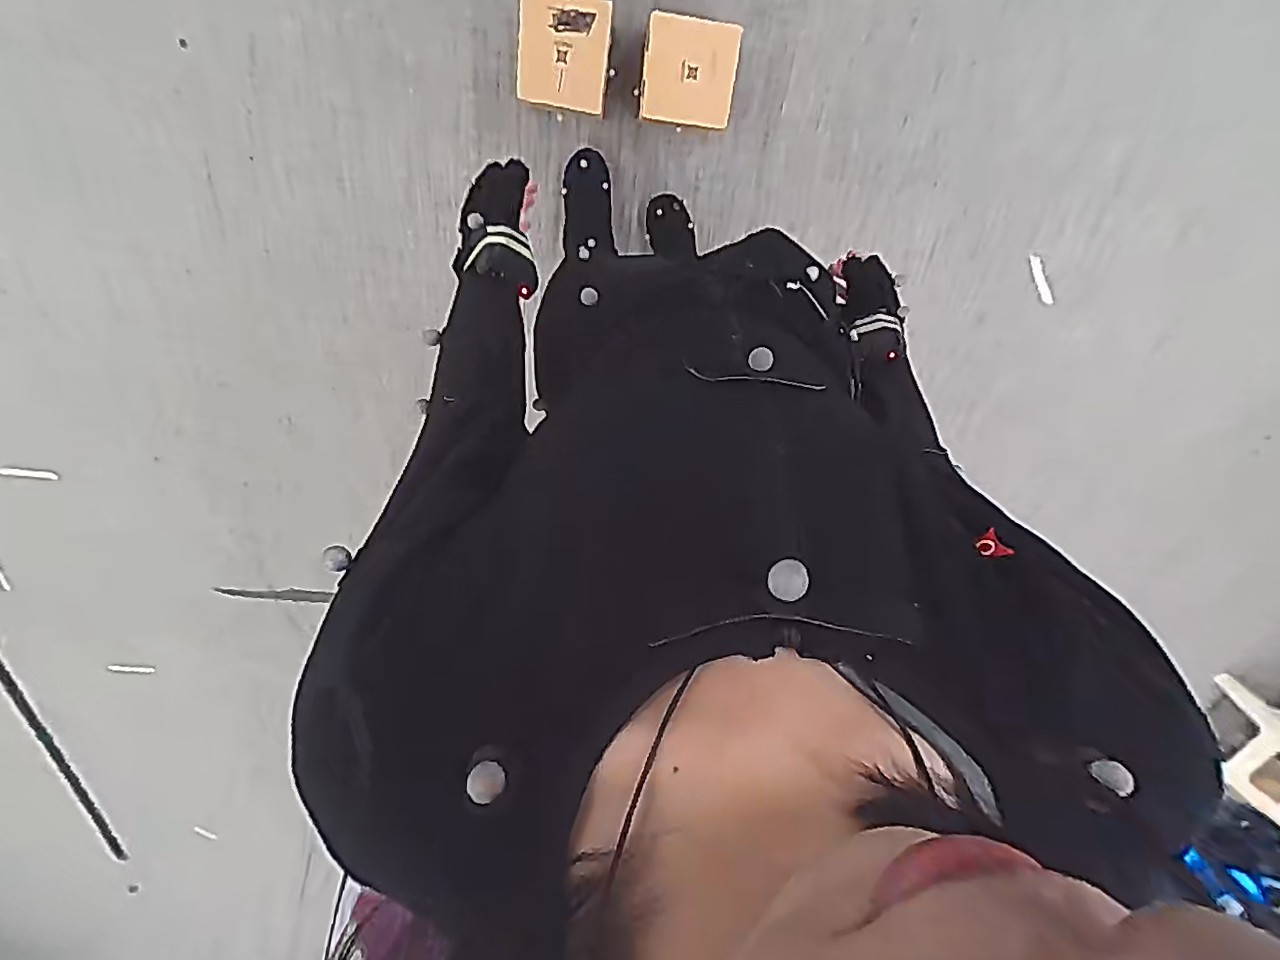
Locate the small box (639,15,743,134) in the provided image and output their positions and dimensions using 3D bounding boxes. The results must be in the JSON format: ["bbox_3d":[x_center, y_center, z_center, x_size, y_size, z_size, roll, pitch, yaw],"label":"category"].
[{"bbox_3d":[0.093,-0.813,1.102,0.179,0.176,0.168,4,121,-6],"label":"small box"}]

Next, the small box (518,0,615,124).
[{"bbox_3d":[-0.144,-0.832,1.077,0.168,0.176,0.179,8,120,-7],"label":"small box"}]
